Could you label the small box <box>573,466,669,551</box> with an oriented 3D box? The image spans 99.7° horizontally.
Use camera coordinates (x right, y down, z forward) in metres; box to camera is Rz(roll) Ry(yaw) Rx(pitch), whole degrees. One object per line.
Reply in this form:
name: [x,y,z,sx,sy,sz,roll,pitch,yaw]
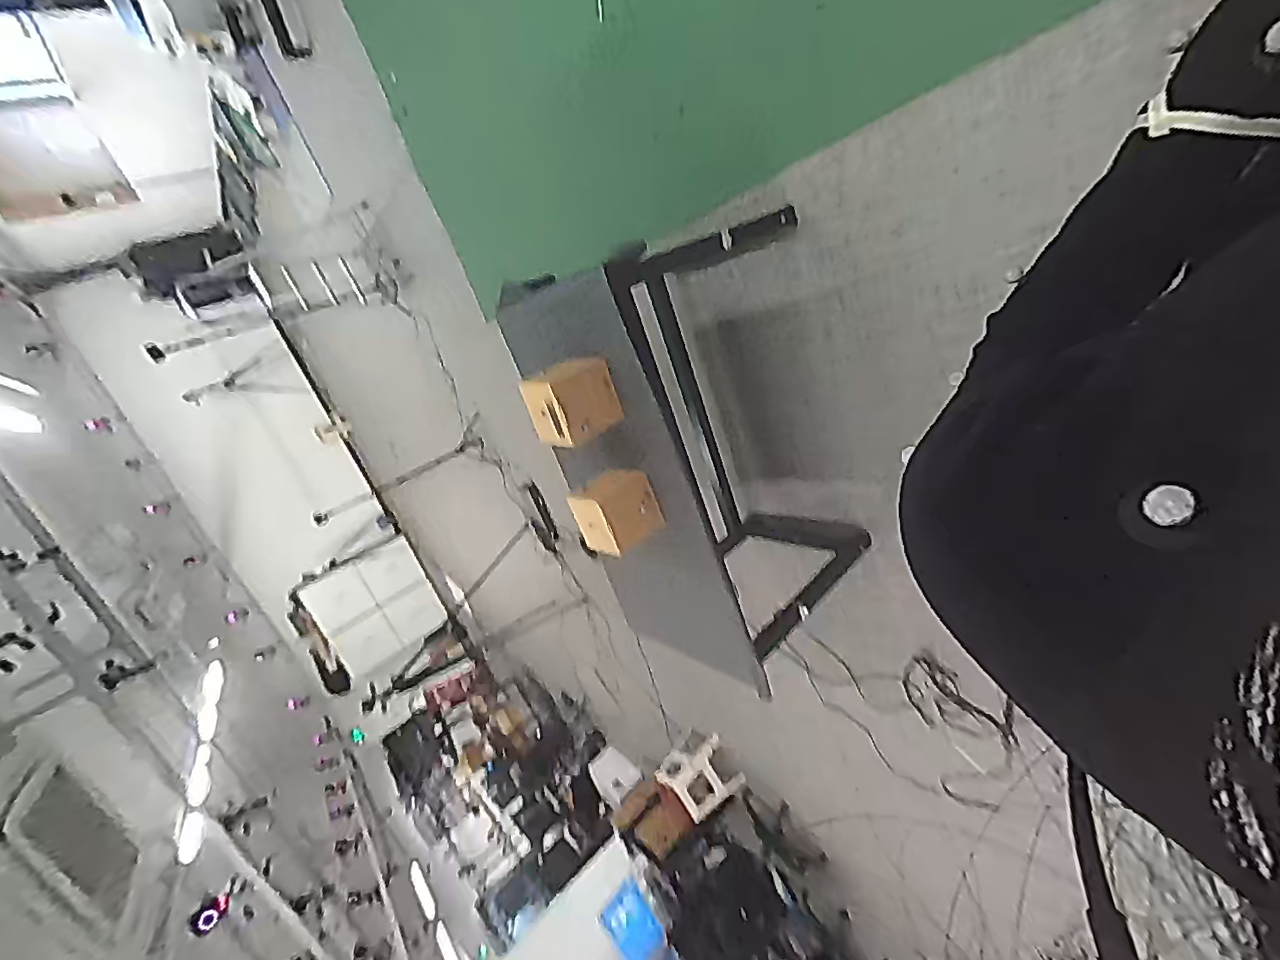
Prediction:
small box: [-0.051,0.071,1.491,0.179,0.176,0.168,5,122,54]
